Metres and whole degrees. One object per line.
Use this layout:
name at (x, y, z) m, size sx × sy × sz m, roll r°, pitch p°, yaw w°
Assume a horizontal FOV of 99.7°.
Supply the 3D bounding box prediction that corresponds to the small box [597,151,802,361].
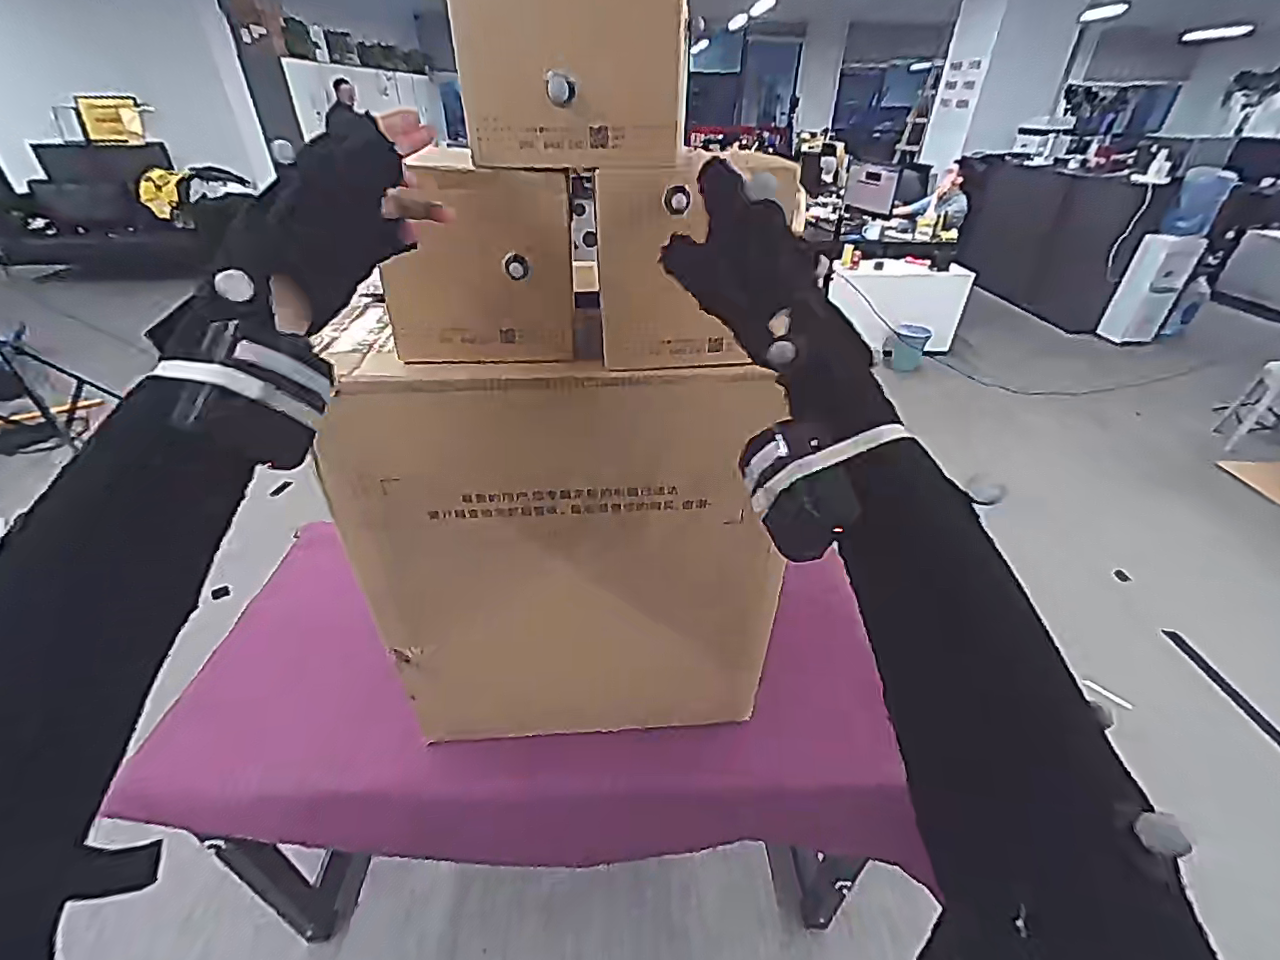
small box at (0.042, -0.227, 0.538) m, size 0.168 × 0.176 × 0.179 m, roll -4°, pitch 34°, yaw -4°

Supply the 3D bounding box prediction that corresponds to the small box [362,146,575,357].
small box at (-0.150, -0.230, 0.543) m, size 0.168 × 0.176 × 0.179 m, roll -1°, pitch 33°, yaw -7°

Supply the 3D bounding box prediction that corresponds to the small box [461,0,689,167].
small box at (-0.044, -0.364, 0.449) m, size 0.168 × 0.176 × 0.179 m, roll 2°, pitch 35°, yaw 3°
